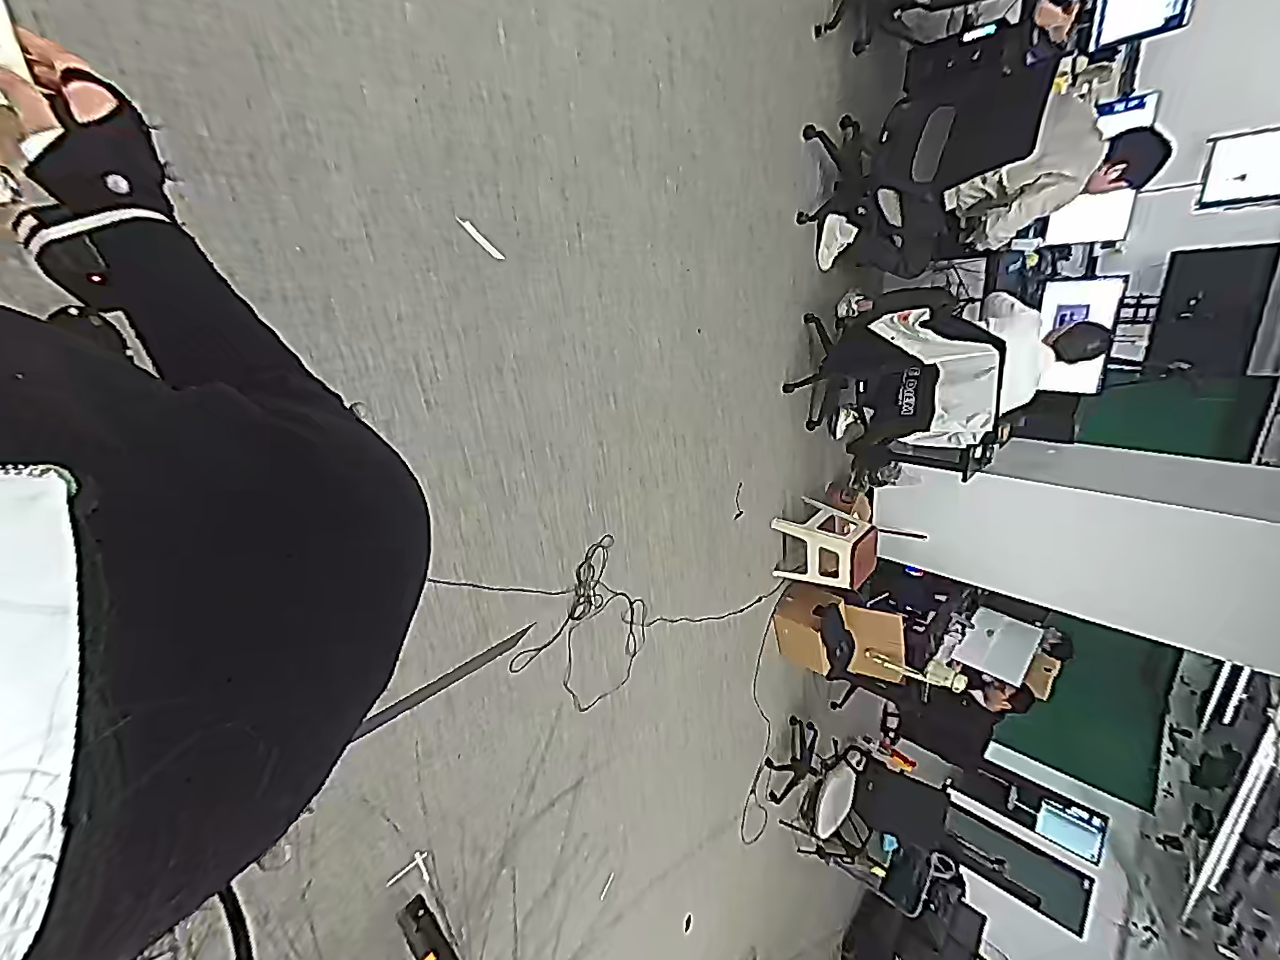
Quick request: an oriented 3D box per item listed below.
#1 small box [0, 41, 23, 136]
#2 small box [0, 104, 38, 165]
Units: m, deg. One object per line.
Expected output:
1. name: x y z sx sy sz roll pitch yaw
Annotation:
1. small box: -0.633 -0.388 0.415 0.168 0.176 0.179 -25 121 -42
2. small box: -0.749 -0.413 0.525 0.179 0.176 0.168 -28 121 -40
